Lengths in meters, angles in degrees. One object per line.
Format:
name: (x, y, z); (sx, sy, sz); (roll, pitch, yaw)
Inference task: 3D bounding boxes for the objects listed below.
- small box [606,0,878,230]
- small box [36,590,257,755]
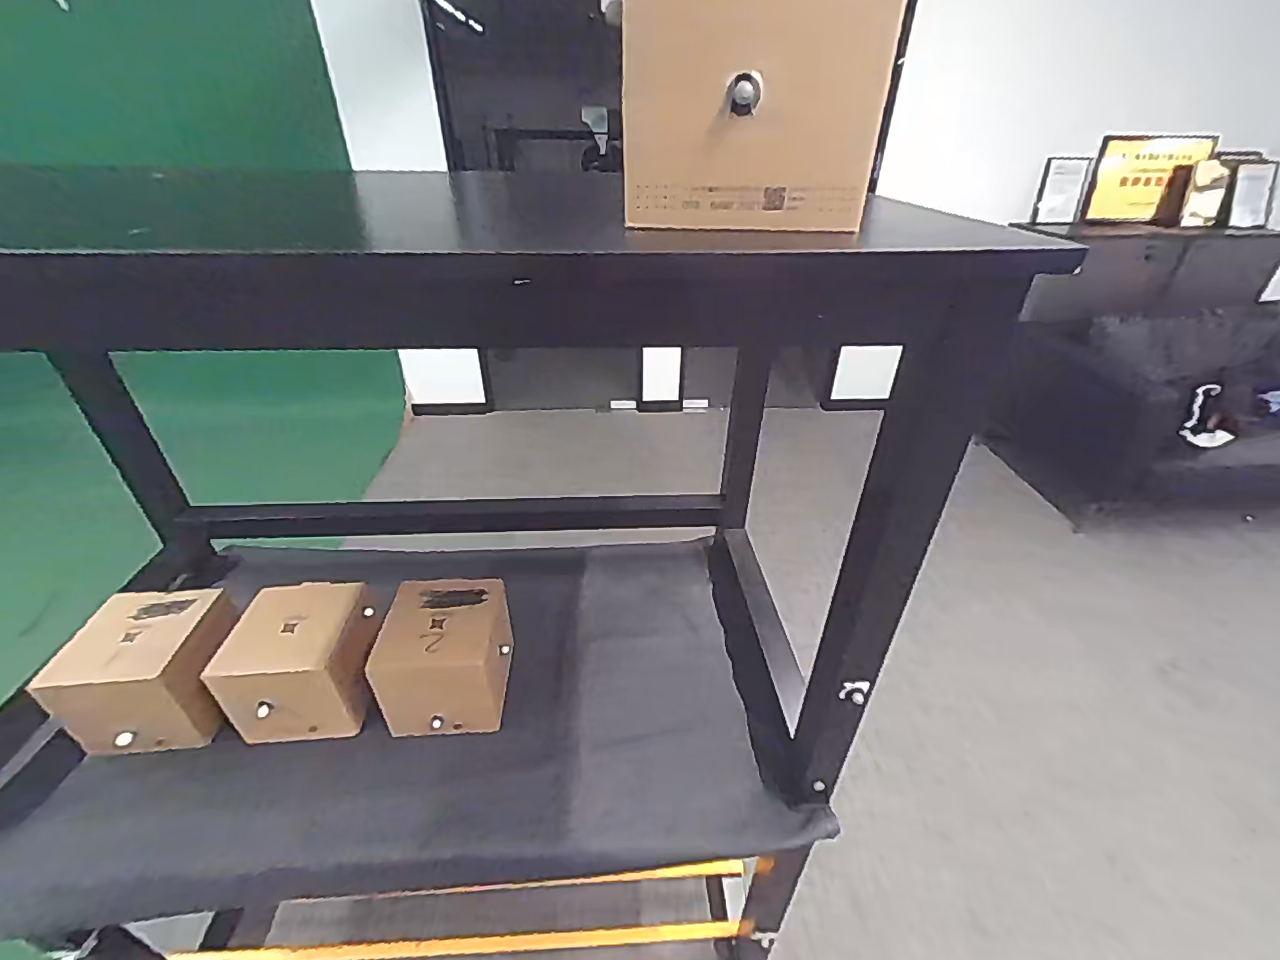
small box: (0.071, -0.292, 0.410); (0.168, 0.176, 0.179); (4, 33, 6)
small box: (-0.741, 0.296, 0.843); (0.168, 0.176, 0.179); (-3, 33, -5)
